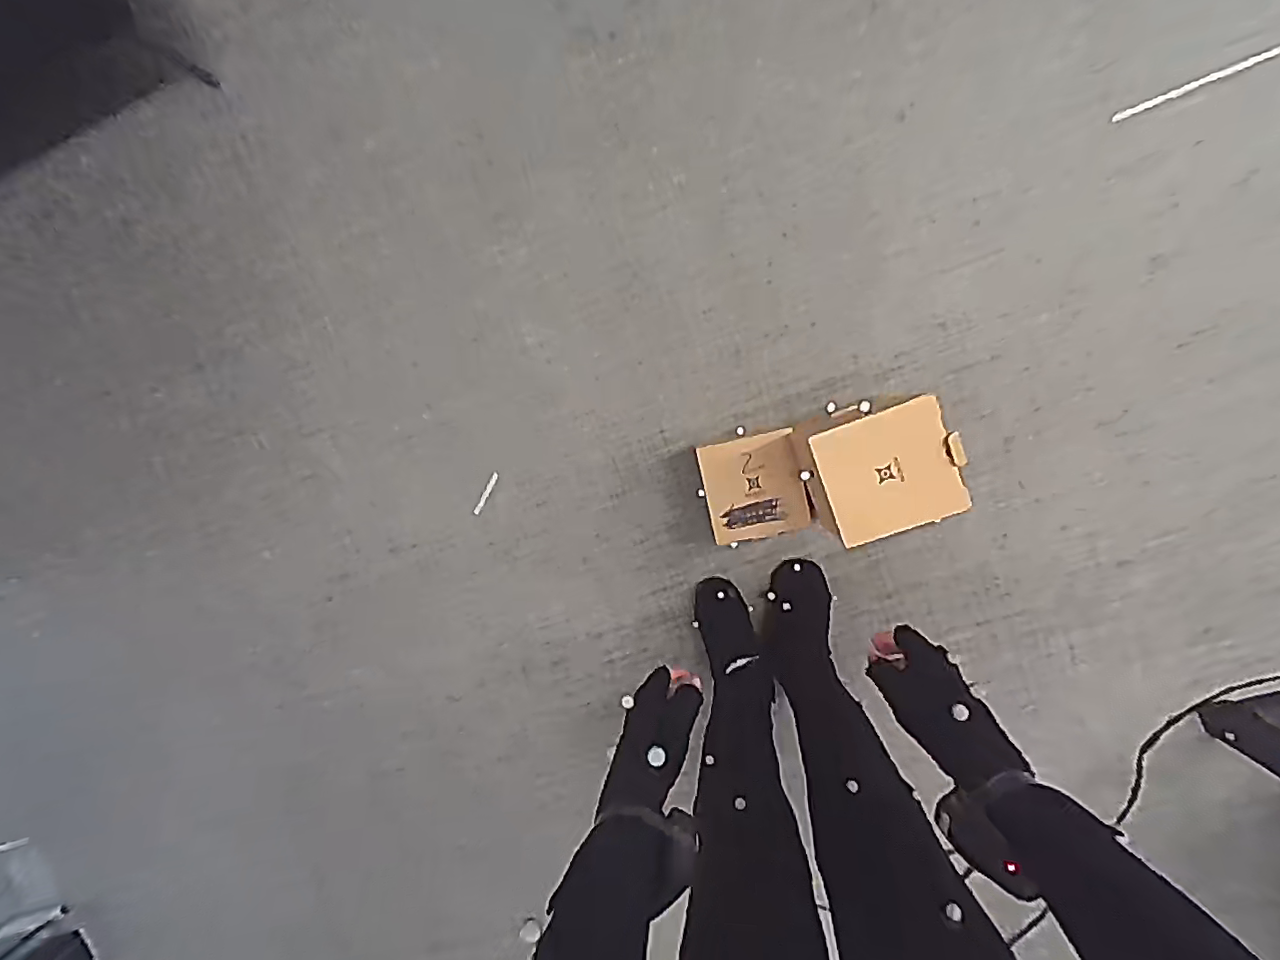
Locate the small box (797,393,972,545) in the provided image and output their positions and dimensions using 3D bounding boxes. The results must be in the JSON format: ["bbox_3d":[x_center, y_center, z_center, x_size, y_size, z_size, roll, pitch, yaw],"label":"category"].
[{"bbox_3d":[0.347,-0.019,0.810,0.179,0.176,0.168,-21,94,9],"label":"small box"}]
